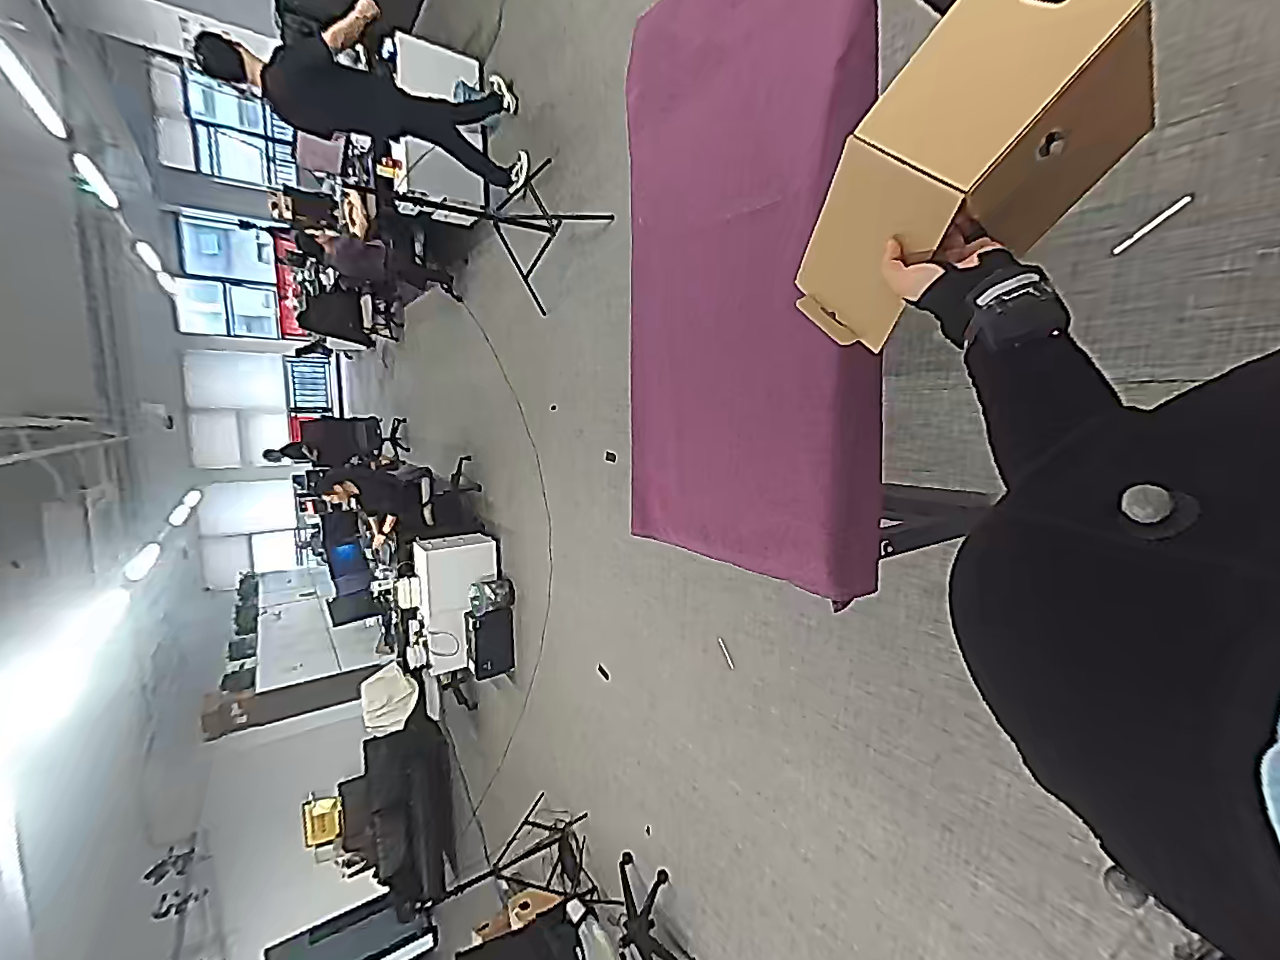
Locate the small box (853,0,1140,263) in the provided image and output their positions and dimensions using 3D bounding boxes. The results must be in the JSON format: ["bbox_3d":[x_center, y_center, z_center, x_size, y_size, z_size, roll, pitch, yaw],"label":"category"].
[{"bbox_3d":[0.368,-0.363,0.561,0.179,0.176,0.168,-48,51,25],"label":"small box"}]
